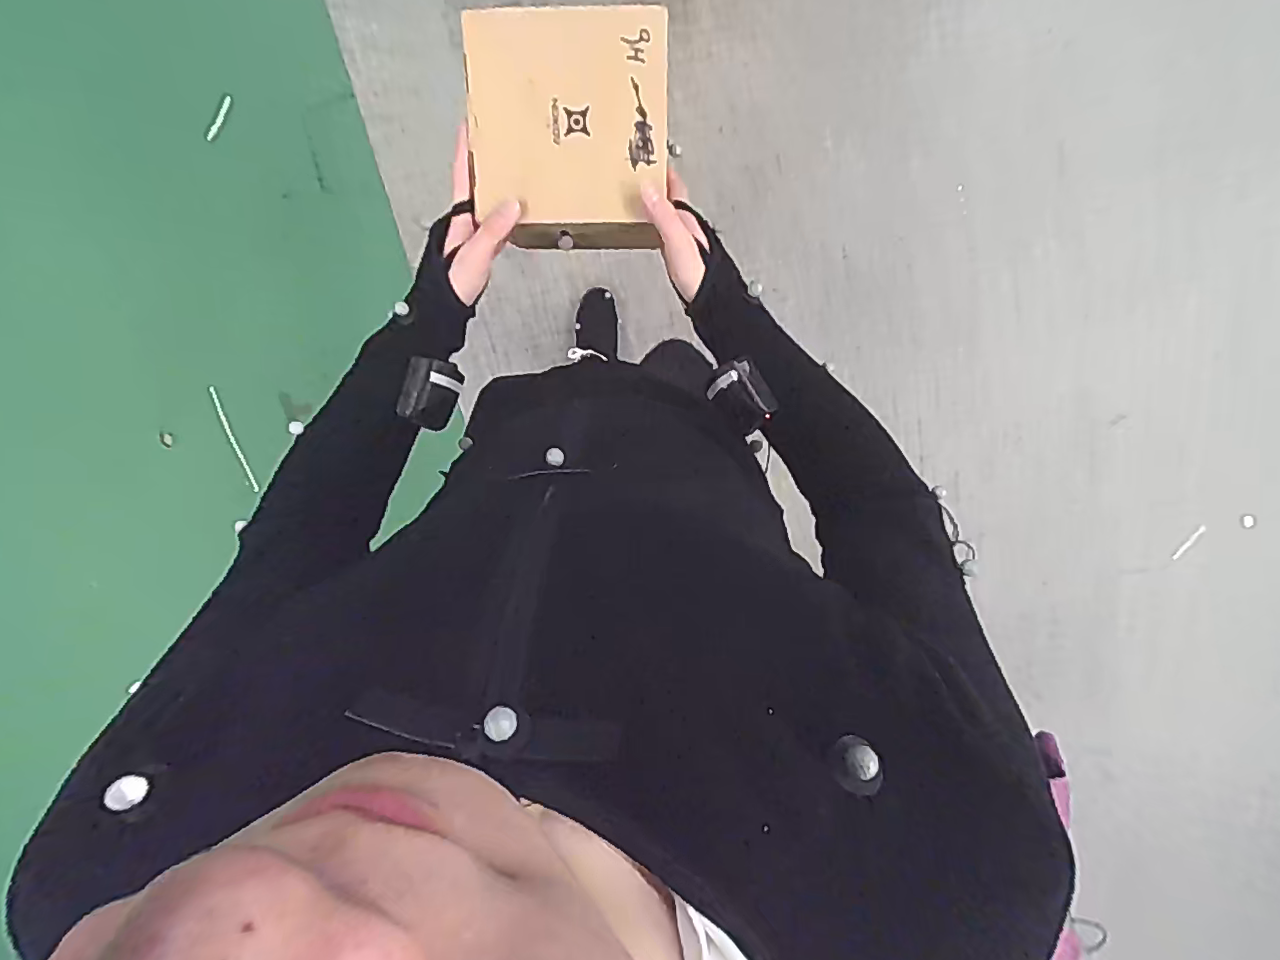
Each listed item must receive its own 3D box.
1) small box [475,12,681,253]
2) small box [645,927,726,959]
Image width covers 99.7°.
[{"bbox_3d":[-0.051,-0.329,0.547,0.179,0.176,0.168,1,105,1],"label":"small box"},{"bbox_3d":[0.107,1.105,1.149,0.179,0.176,0.168,-10,107,-2],"label":"small box"}]
